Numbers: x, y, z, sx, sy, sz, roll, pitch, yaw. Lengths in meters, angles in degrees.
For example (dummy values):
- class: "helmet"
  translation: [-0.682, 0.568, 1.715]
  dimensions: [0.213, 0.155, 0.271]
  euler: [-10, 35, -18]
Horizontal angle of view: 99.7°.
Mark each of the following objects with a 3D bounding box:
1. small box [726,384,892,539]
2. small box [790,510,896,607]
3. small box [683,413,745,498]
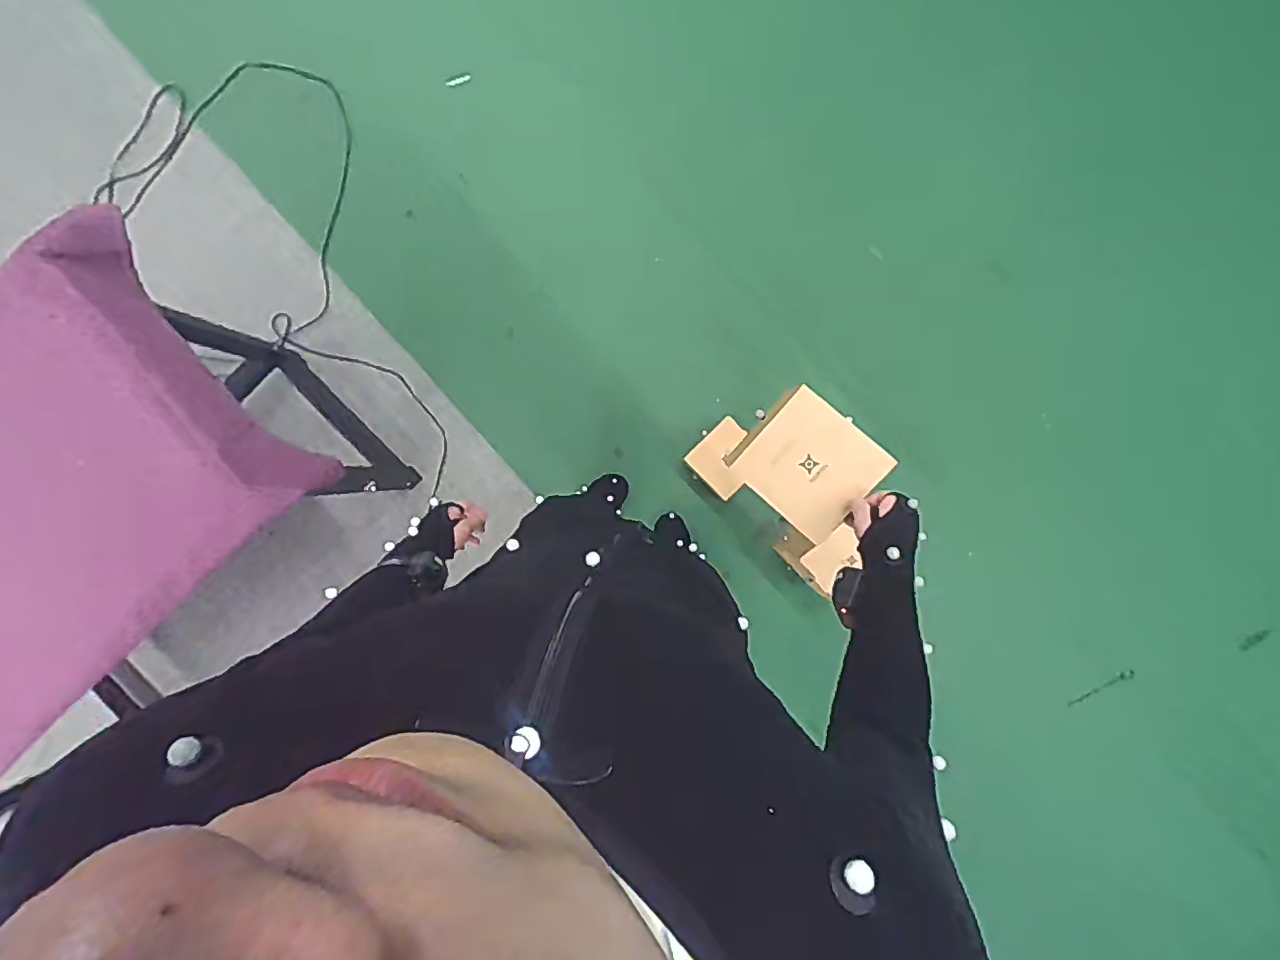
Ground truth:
- class: "small box"
  translation: [0.257, -0.036, 0.867]
  dimensions: [0.179, 0.176, 0.168]
  euler: [41, 99, 0]
- class: "small box"
  translation: [0.501, 0.189, 1.372]
  dimensions: [0.179, 0.176, 0.168]
  euler: [-41, 90, 4]
- class: "small box"
  translation: [0.238, -0.066, 1.547]
  dimensions: [0.179, 0.176, 0.168]
  euler: [-45, 88, 1]
